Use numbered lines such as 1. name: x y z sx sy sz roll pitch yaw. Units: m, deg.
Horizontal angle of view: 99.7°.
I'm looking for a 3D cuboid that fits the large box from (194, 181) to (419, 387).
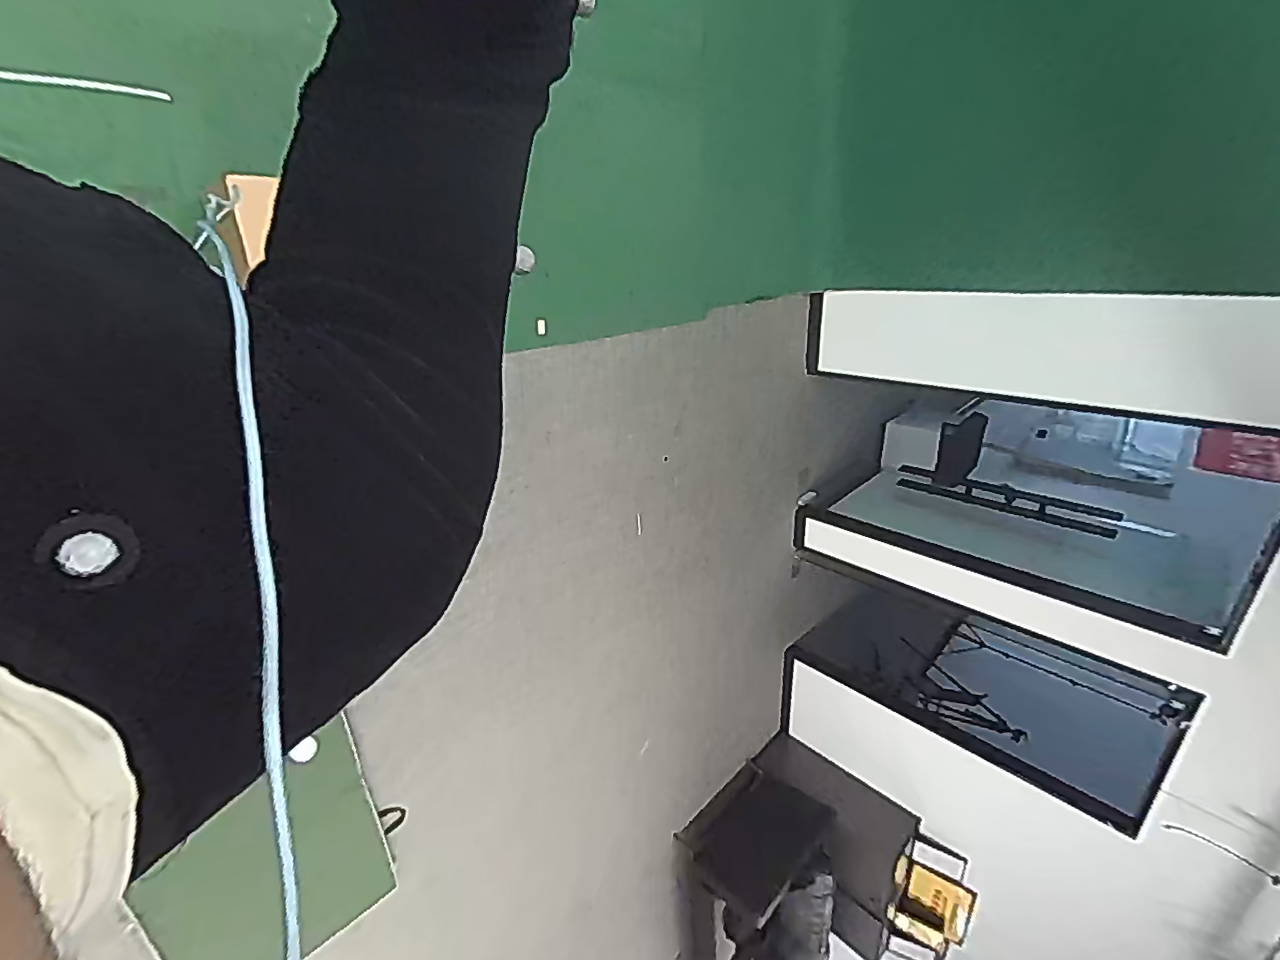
1. large box: -0.777 -0.464 1.282 0.320 0.320 0.408 -23 120 -40
